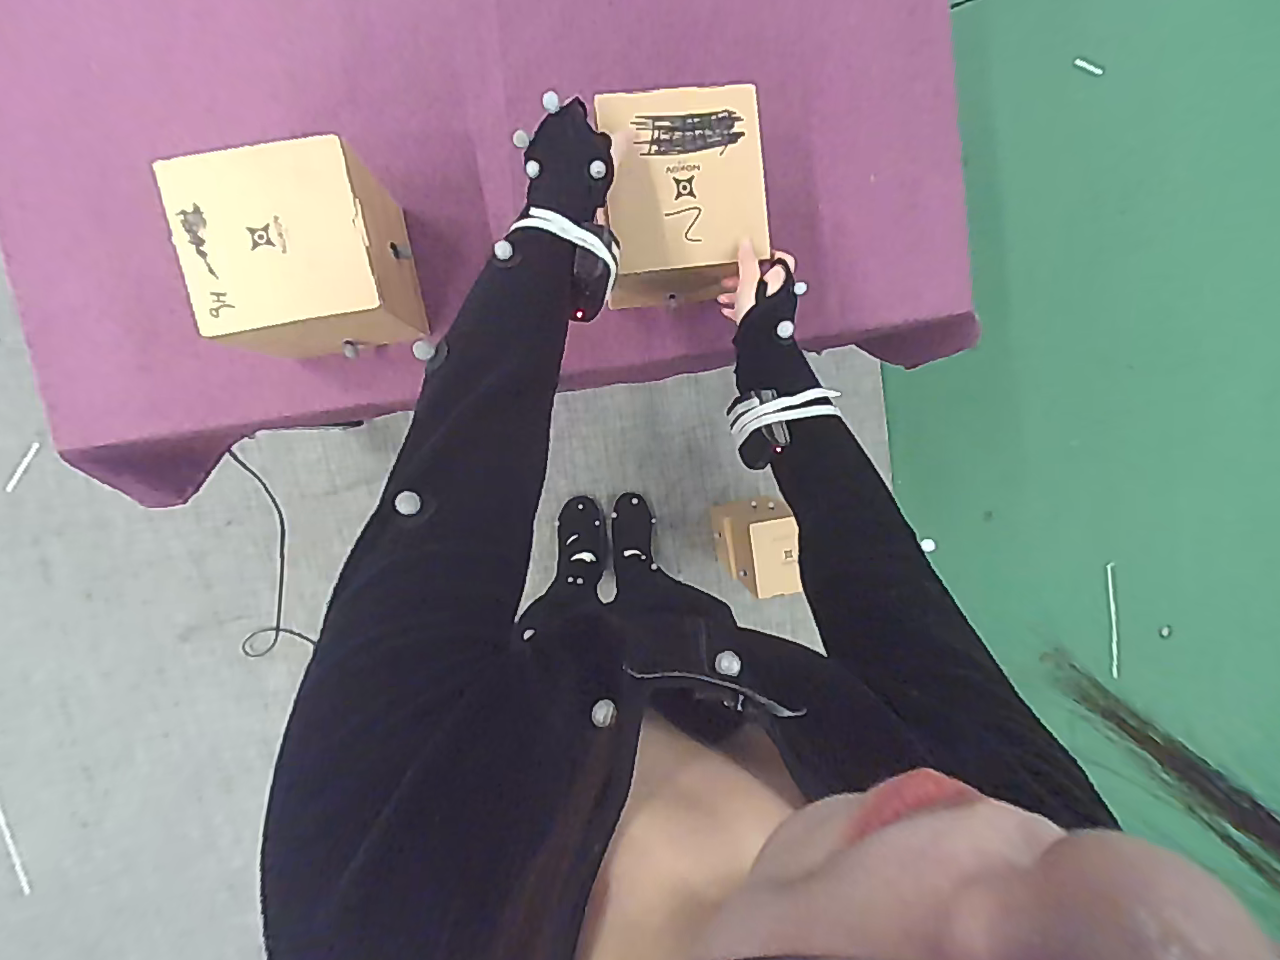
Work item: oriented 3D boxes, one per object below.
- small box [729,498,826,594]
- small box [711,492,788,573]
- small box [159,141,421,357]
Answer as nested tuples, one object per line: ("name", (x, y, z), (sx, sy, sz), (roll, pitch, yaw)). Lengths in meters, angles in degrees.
("small box", (0.320, 0.149, 1.283), (0.168, 0.176, 0.179), (-9, 97, -6))
("small box", (0.295, 0.134, 1.443), (0.179, 0.176, 0.168), (-12, 97, -5))
("small box", (-0.360, -0.240, 0.600), (0.179, 0.176, 0.168), (-12, 96, -5))
